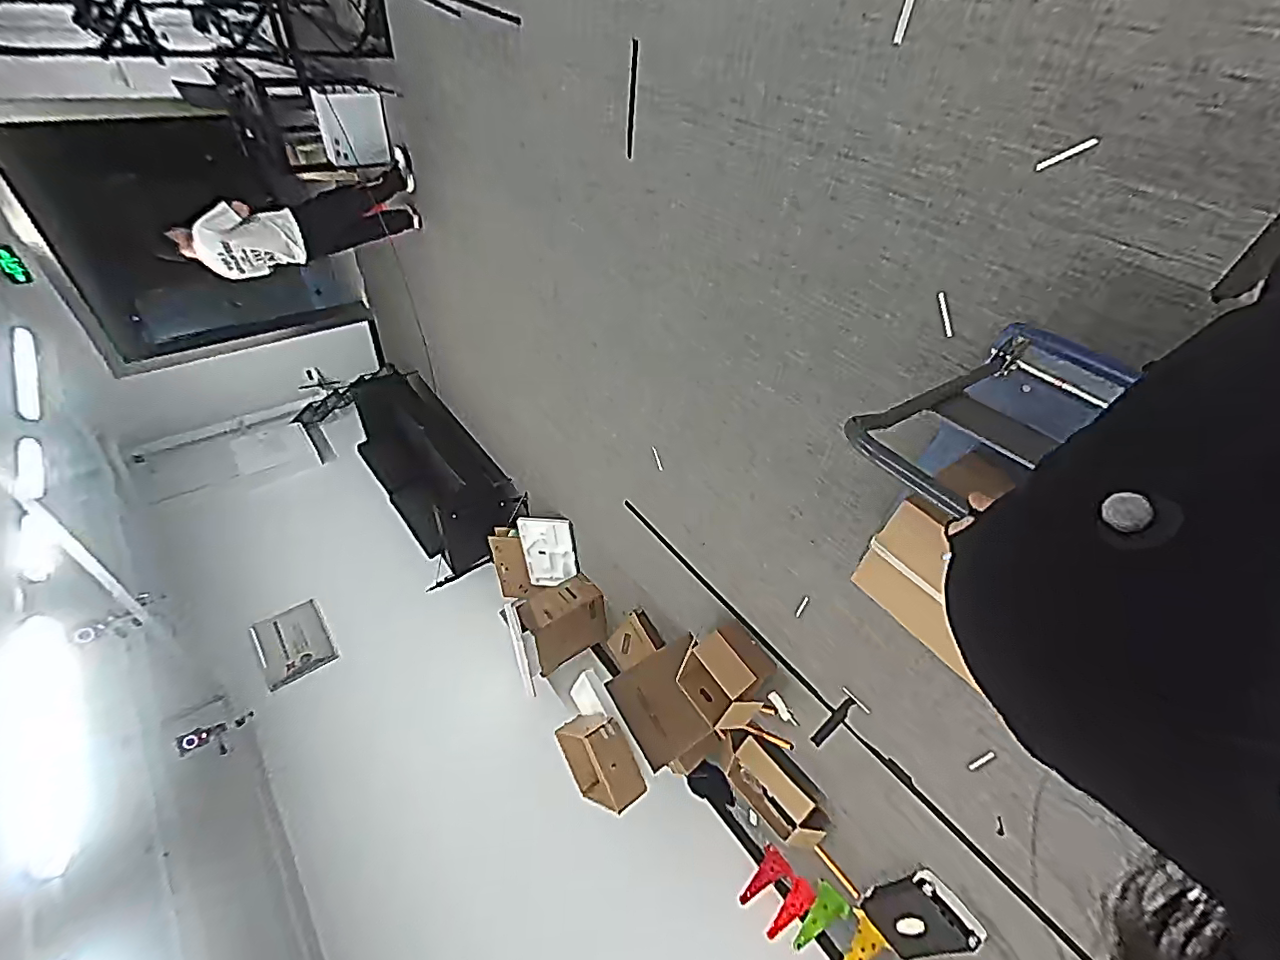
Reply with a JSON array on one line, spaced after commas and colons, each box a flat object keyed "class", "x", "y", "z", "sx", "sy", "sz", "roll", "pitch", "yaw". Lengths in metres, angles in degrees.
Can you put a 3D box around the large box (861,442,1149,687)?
[{"class": "large box", "x": 0.817, "y": 0.177, "z": 1.257, "sx": 0.408, "sy": 0.320, "sz": 0.320, "roll": 44, "pitch": 145, "yaw": 30}]
